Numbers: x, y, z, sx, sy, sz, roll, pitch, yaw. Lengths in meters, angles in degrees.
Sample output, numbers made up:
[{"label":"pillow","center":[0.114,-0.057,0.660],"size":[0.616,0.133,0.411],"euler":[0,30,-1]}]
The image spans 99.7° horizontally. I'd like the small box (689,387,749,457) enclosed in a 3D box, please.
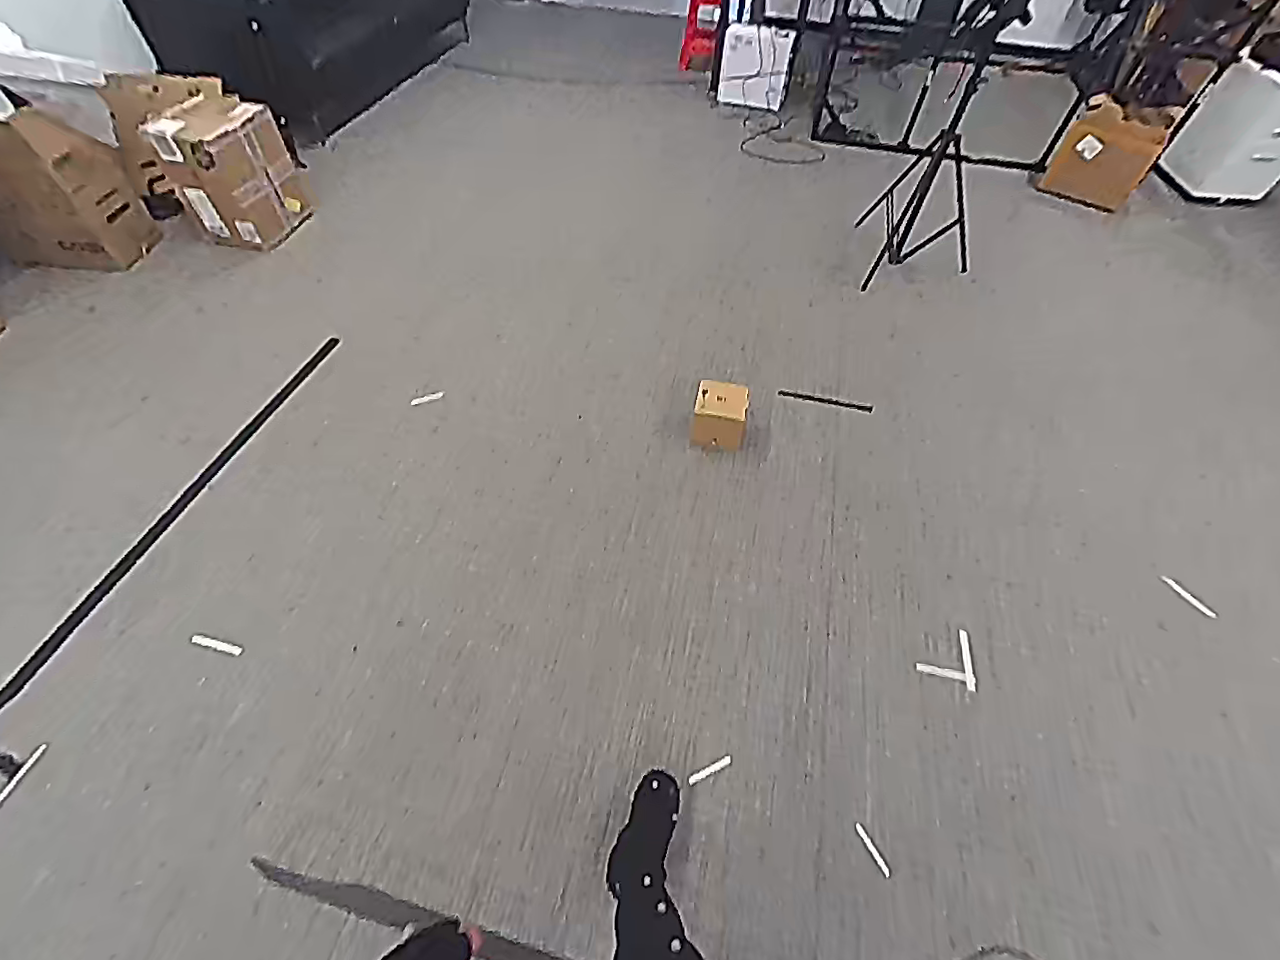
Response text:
[{"label":"small box","center":[0.280,-0.203,1.939],"size":[0.179,0.176,0.168],"euler":[11,53,6]}]
